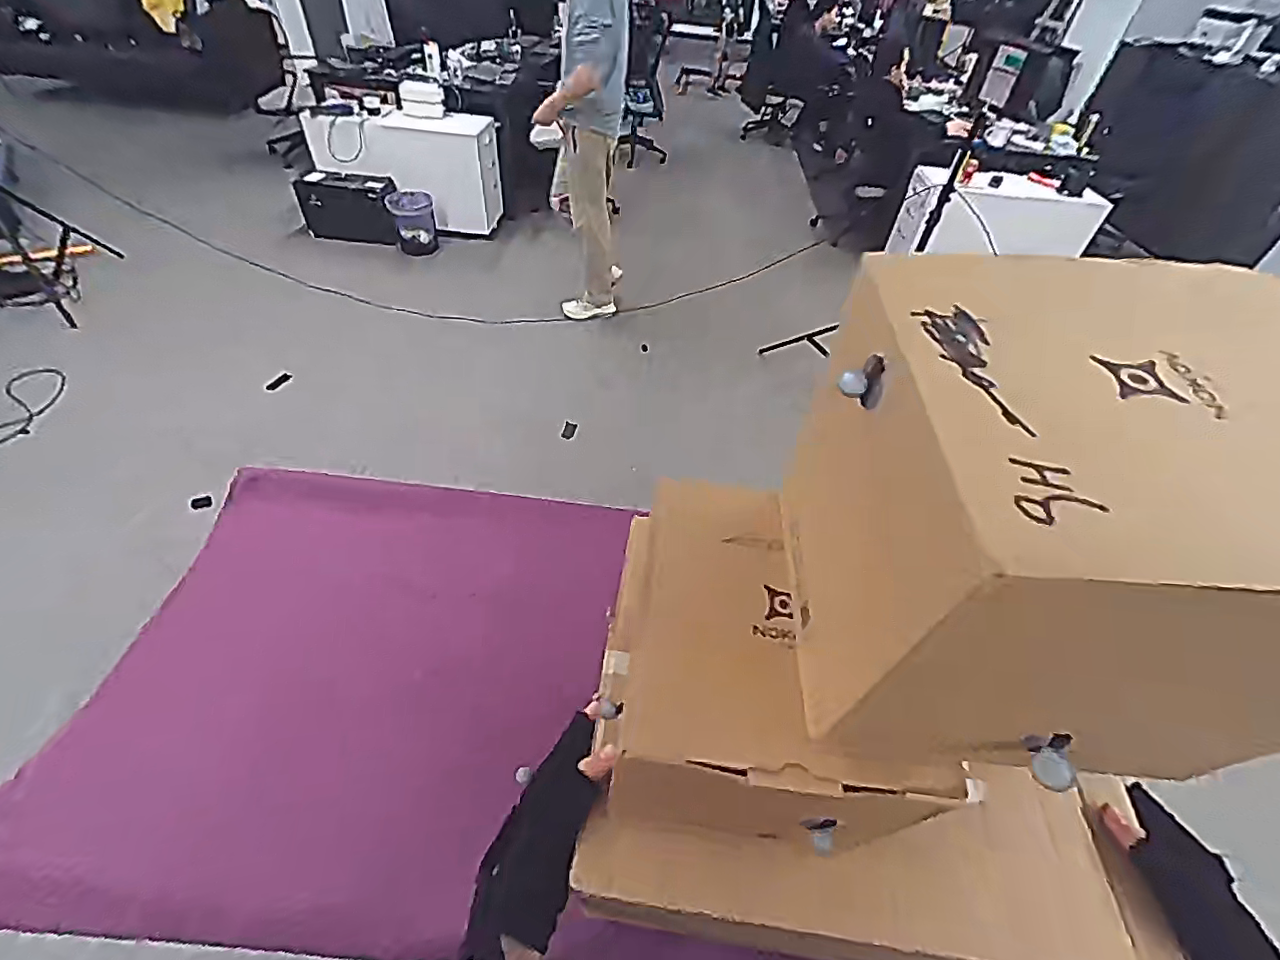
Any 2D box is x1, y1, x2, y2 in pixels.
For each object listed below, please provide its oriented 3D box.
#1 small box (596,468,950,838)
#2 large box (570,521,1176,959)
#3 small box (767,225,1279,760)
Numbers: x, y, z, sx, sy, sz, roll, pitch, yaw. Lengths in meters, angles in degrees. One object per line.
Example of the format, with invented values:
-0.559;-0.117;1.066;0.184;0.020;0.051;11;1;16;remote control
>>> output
0.065;0.119;0.361;0.168;0.176;0.179;8;48;0;small box
0.153;0.272;0.557;0.408;0.320;0.320;8;50;2;large box
0.167;0.013;0.242;0.179;0.176;0.168;5;49;1;small box
